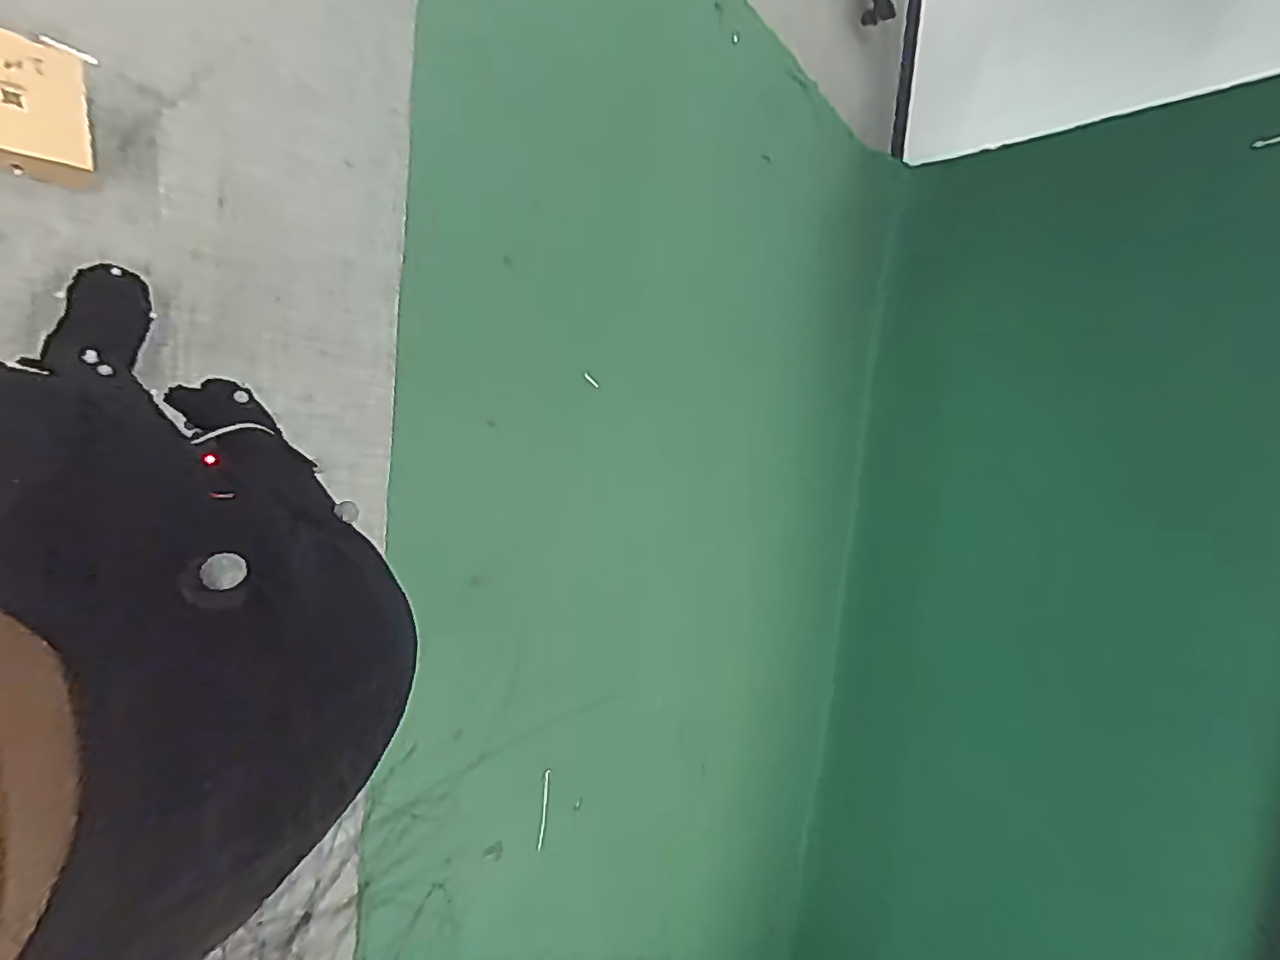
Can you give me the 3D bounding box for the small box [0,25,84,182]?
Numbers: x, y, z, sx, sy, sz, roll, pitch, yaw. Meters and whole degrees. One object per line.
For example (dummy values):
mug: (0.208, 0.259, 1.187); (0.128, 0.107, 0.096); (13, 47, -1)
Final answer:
small box: (-1.030, -0.613, 0.880); (0.168, 0.176, 0.179); (-7, 103, -47)
